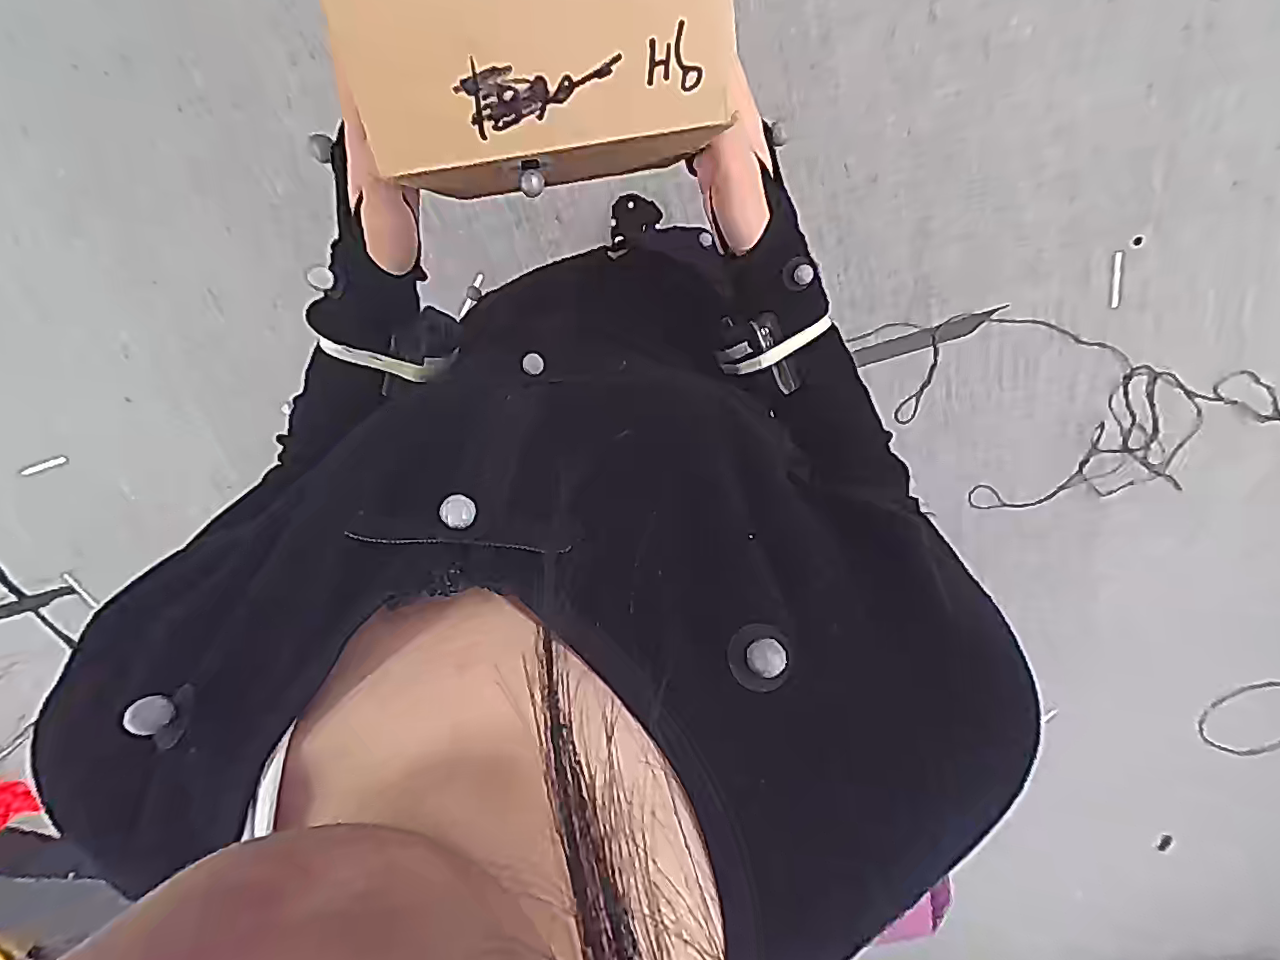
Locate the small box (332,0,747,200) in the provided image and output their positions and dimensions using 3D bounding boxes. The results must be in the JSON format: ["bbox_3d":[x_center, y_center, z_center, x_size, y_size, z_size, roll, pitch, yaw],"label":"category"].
[{"bbox_3d":[-0.052,-0.256,0.275,0.168,0.176,0.179,-10,115,-1],"label":"small box"}]

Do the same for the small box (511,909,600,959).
[{"bbox_3d":[-0.190,1.120,1.229,0.168,0.176,0.179,-12,116,4],"label":"small box"}]
